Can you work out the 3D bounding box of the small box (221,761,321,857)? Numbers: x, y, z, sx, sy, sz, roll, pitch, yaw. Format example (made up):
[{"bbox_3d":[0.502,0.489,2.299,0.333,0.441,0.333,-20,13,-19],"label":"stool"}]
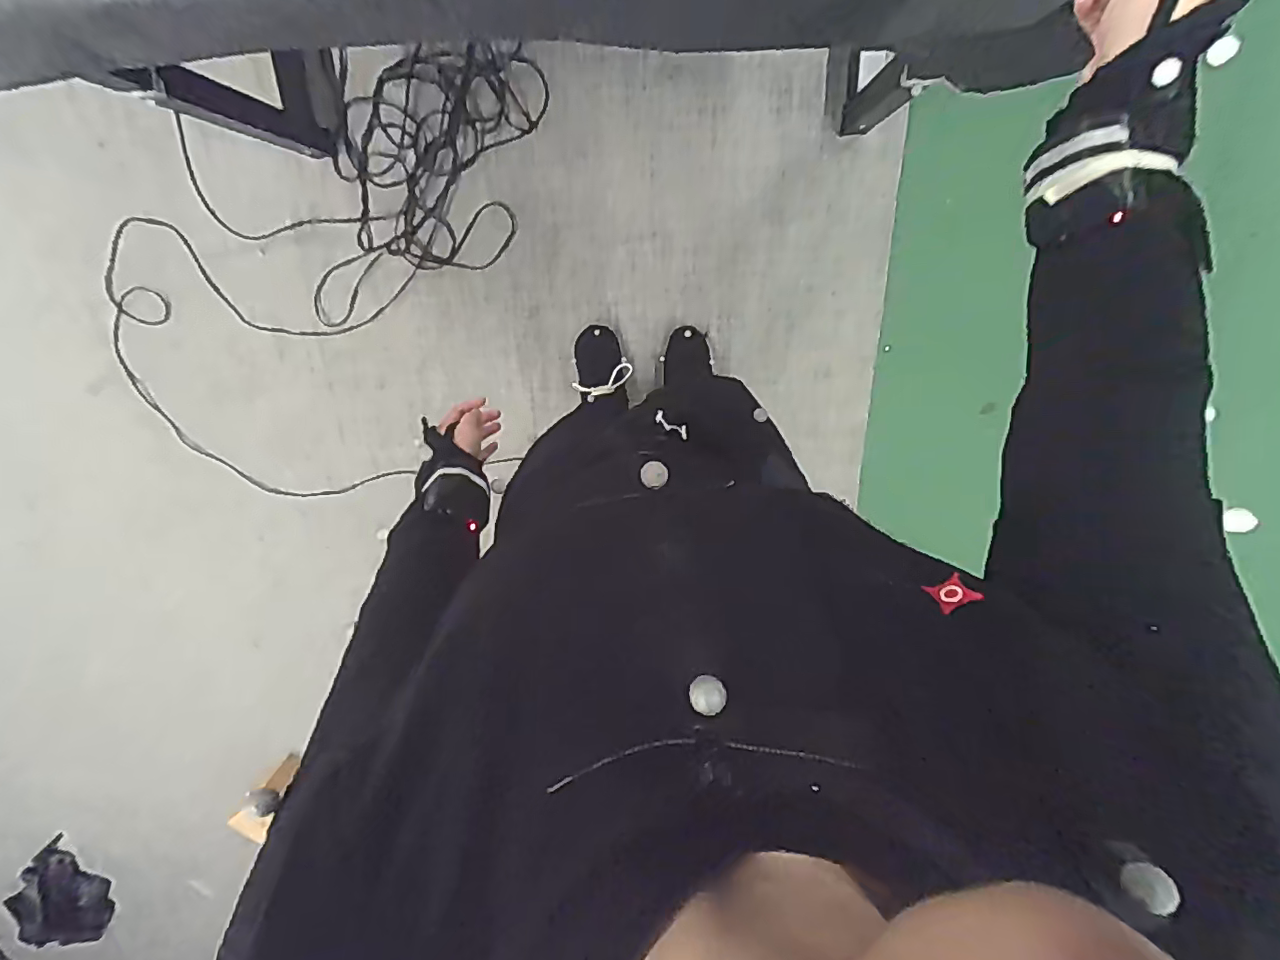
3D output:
[{"bbox_3d":[-1.177,1.055,1.741,0.179,0.176,0.168,-43,104,15],"label":"small box"}]
